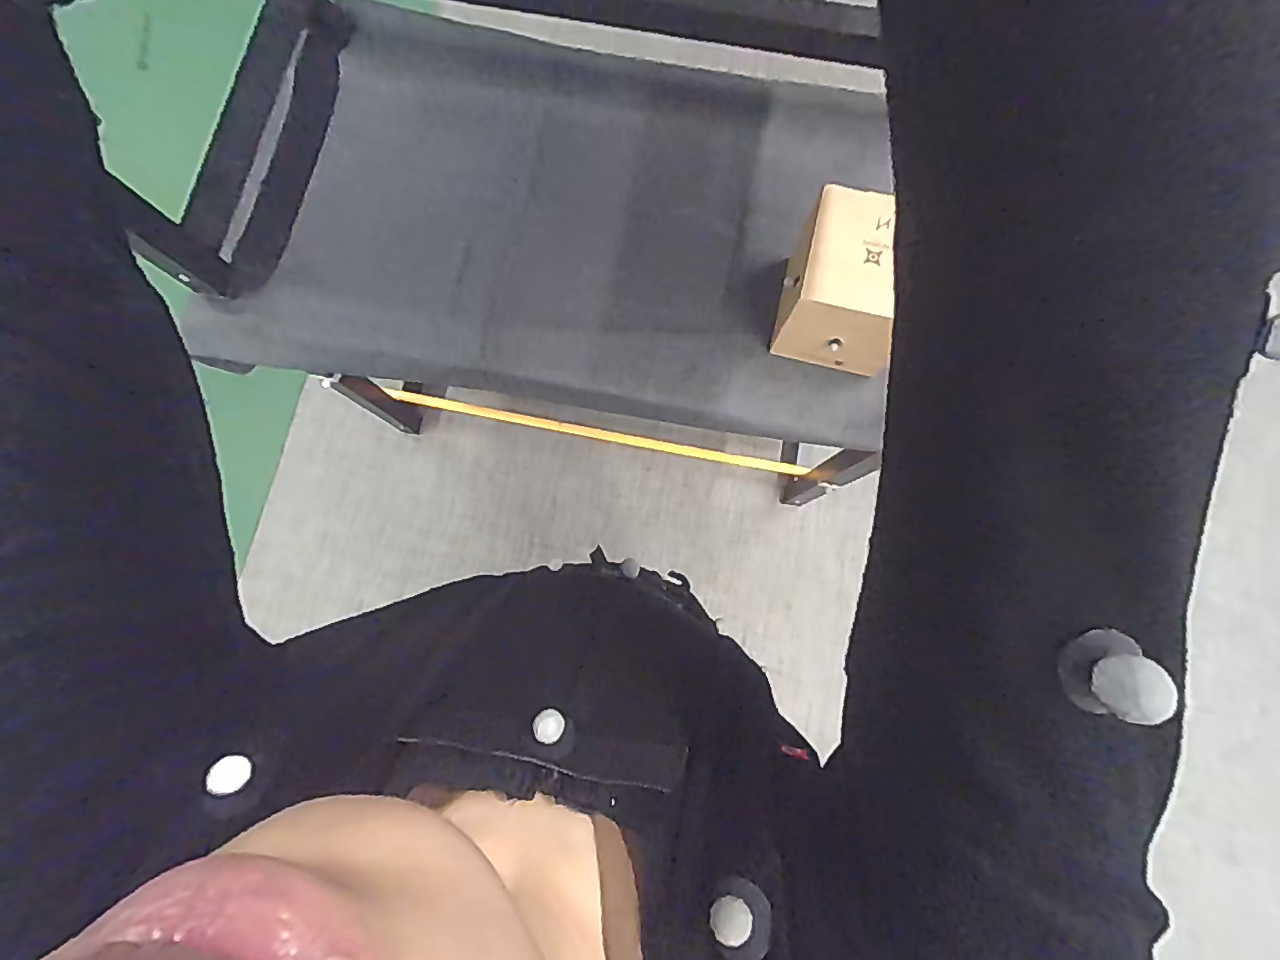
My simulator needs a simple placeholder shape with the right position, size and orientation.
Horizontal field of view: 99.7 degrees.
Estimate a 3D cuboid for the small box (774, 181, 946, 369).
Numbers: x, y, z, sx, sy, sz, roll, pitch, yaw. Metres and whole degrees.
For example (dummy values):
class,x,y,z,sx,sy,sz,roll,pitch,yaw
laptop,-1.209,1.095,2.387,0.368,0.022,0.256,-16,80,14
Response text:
class,x,y,z,sx,sy,sz,roll,pitch,yaw
small box,0.302,-0.281,0.775,0.168,0.176,0.179,14,79,2
